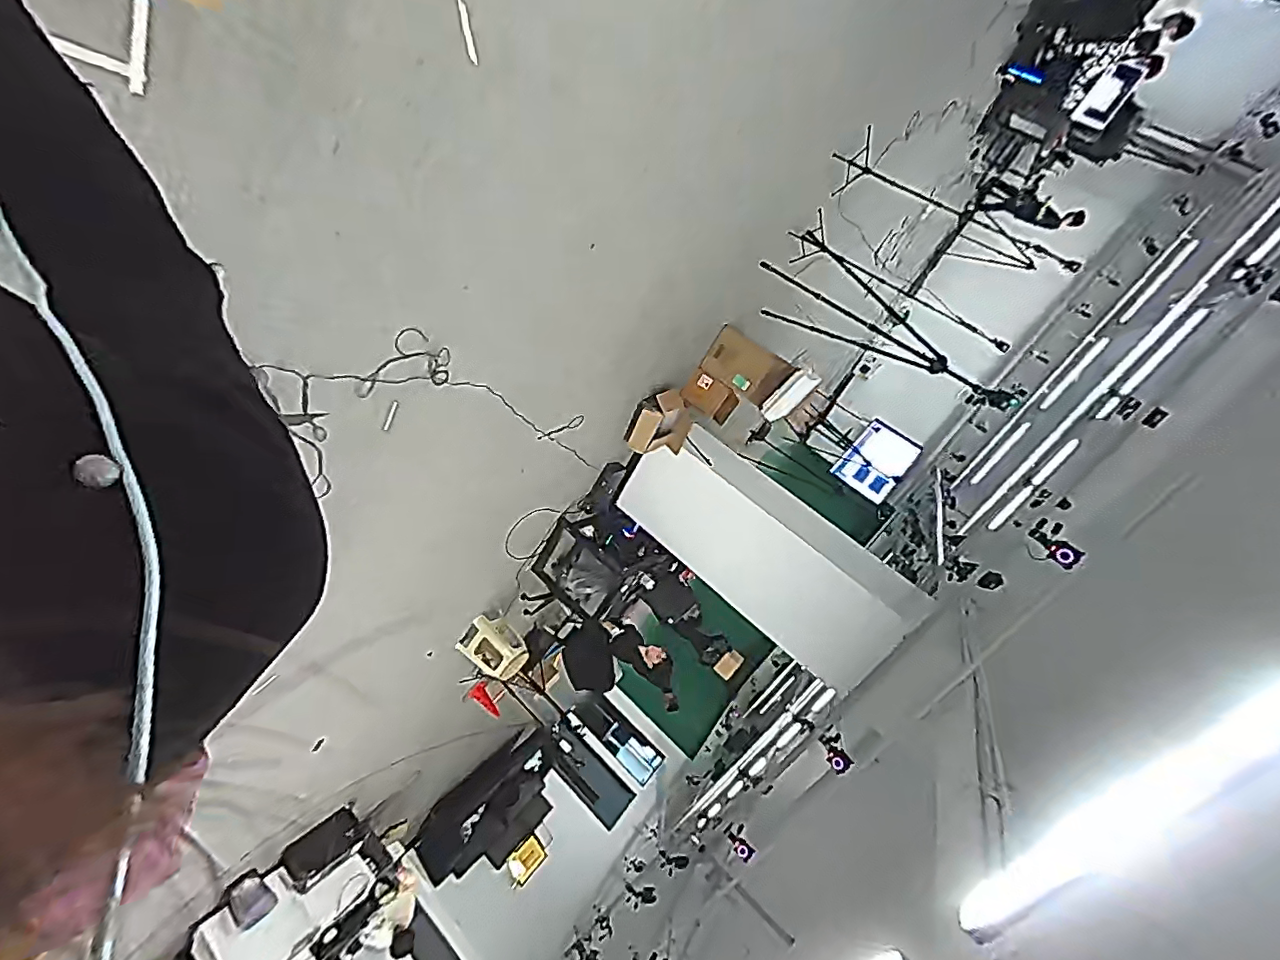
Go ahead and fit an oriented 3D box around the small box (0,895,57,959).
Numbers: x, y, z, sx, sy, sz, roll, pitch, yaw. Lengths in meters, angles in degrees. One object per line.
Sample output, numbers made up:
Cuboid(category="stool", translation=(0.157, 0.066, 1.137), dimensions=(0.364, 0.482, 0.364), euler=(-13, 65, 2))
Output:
Cuboid(category="small box", translation=(-1.413, 1.056, 1.169), dimensions=(0.168, 0.176, 0.179), euler=(-18, 143, -59))
